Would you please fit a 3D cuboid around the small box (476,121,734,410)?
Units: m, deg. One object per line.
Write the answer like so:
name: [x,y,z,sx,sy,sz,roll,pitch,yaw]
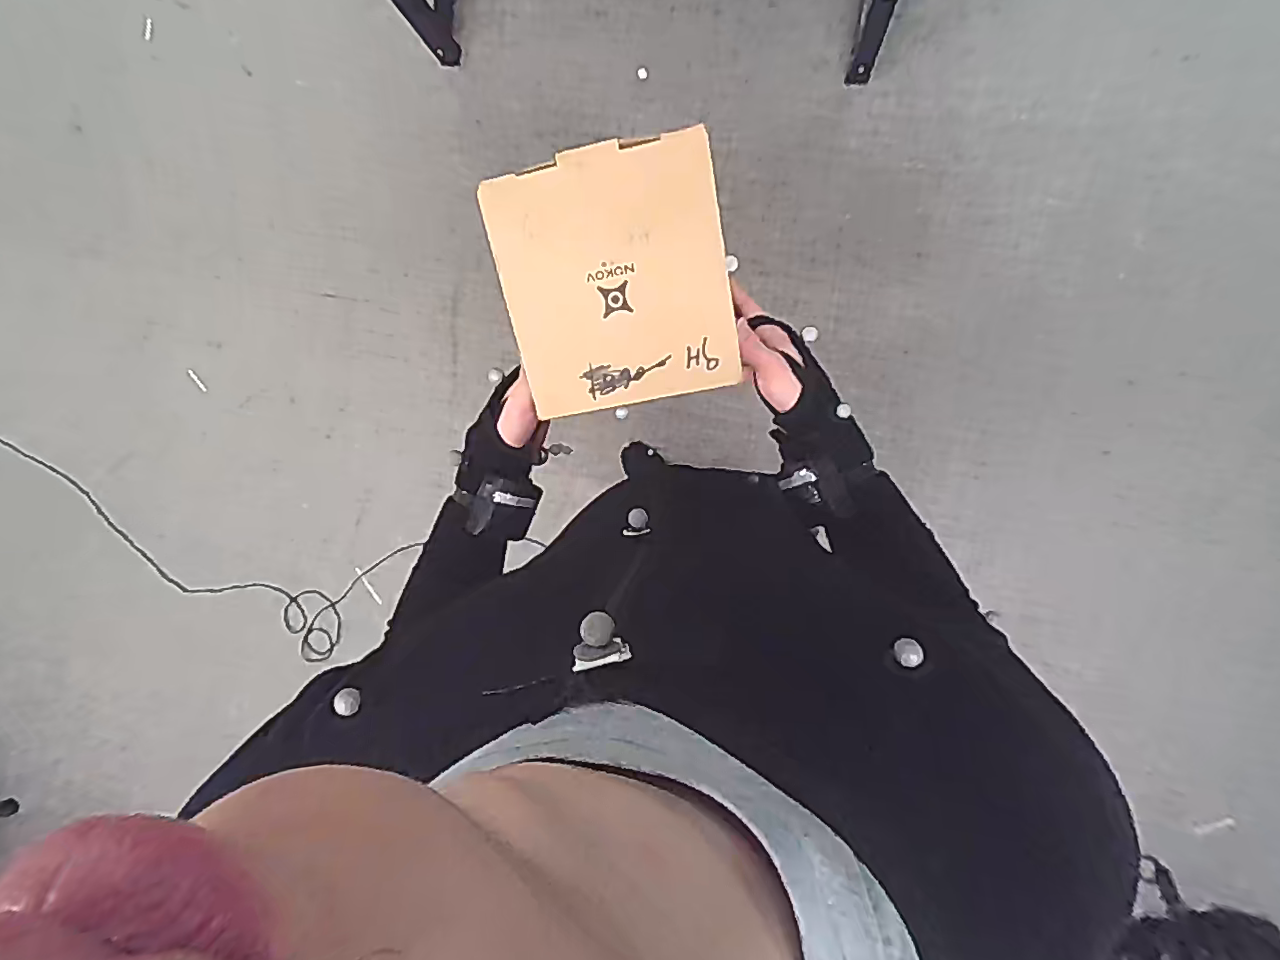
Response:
small box: [-0.015,-0.173,0.470,0.168,0.176,0.179,-8,109,10]
